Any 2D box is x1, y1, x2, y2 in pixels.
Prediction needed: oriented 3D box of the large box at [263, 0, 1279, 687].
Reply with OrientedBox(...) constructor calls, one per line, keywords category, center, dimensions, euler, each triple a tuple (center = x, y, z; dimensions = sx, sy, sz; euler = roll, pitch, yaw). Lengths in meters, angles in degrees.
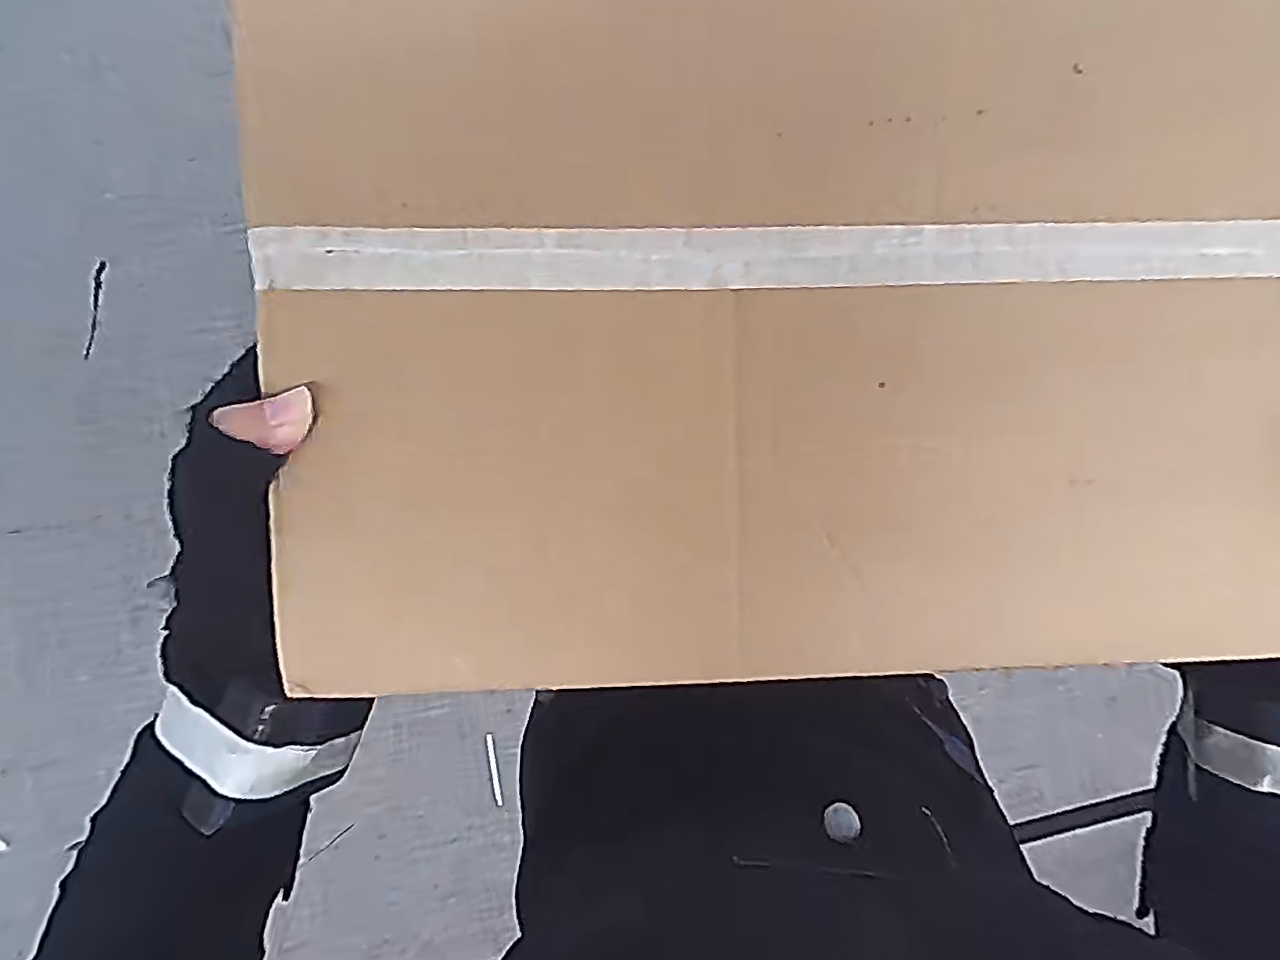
OrientedBox(category="large box", center=(0.060, -0.090, 0.357), dimensions=(0.408, 0.320, 0.320), euler=(-2, 93, -3))
